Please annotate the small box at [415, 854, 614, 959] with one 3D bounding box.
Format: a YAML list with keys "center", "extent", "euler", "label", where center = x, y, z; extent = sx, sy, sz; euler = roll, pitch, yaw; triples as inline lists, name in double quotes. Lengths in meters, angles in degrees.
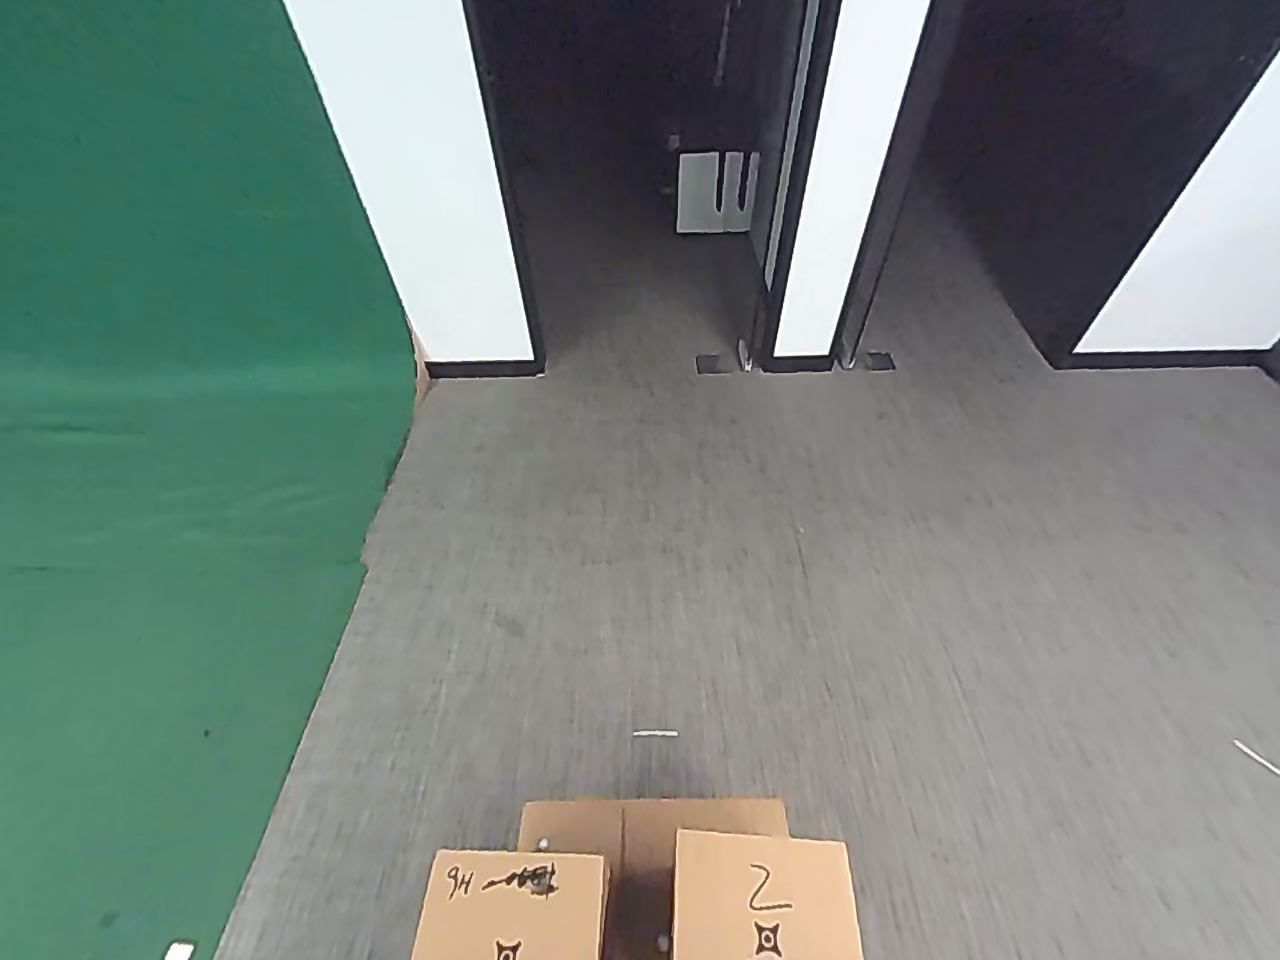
- center: [-0.115, 0.481, 0.528]
  extent: [0.168, 0.176, 0.179]
  euler: [1, 51, 2]
  label: "small box"

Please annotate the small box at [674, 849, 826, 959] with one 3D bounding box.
- center: [0.126, 0.570, 0.656]
  extent: [0.168, 0.176, 0.179]
  euler: [1, 48, 4]
  label: "small box"
